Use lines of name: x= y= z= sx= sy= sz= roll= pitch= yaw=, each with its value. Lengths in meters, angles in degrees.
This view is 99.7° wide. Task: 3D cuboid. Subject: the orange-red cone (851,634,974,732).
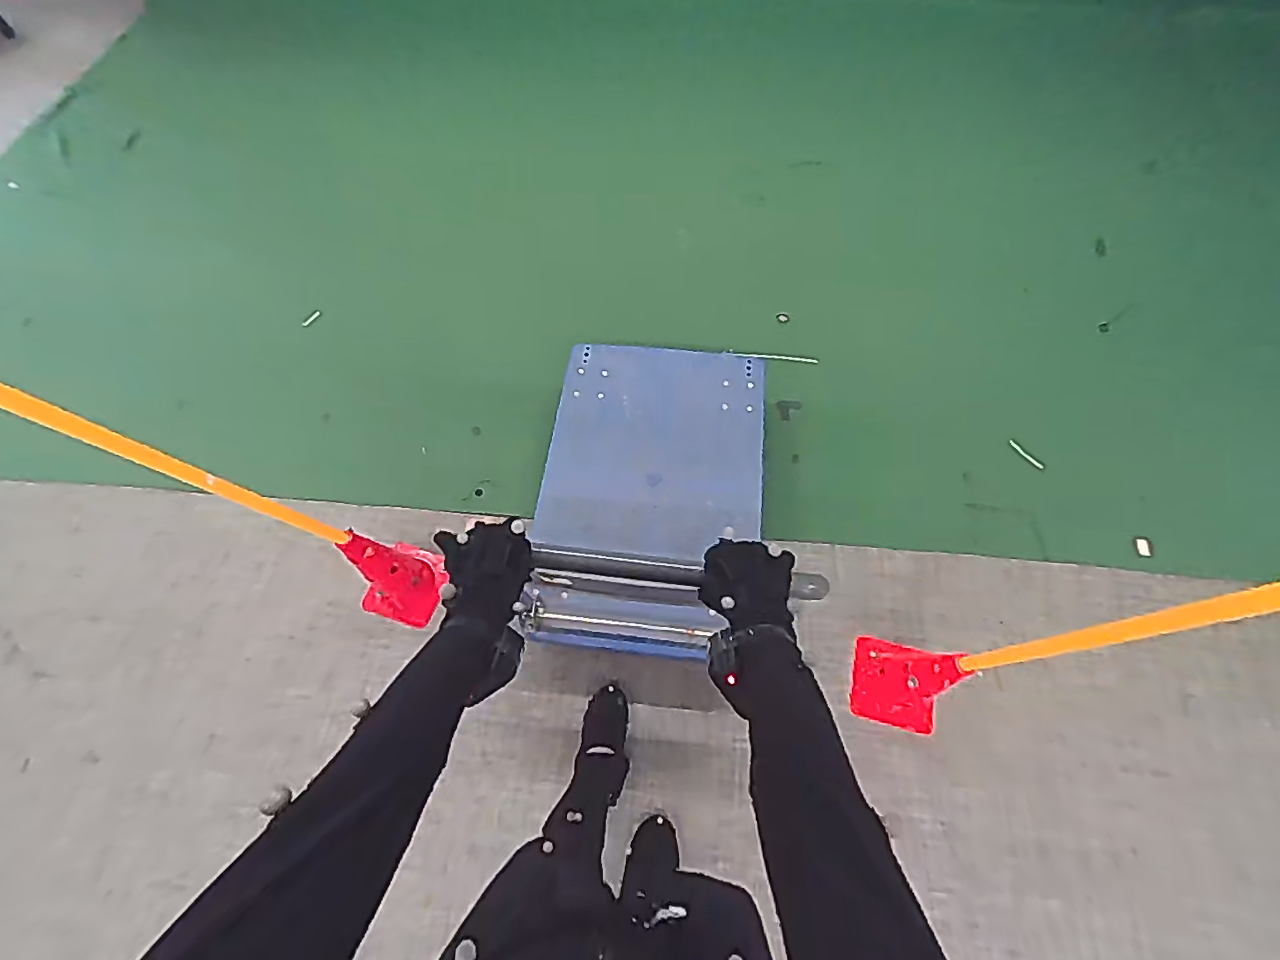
orange-red cone: x=0.629 y=0.425 z=1.192 sx=0.198 sy=0.360 sz=0.199 roll=14 pitch=65 yaw=9
